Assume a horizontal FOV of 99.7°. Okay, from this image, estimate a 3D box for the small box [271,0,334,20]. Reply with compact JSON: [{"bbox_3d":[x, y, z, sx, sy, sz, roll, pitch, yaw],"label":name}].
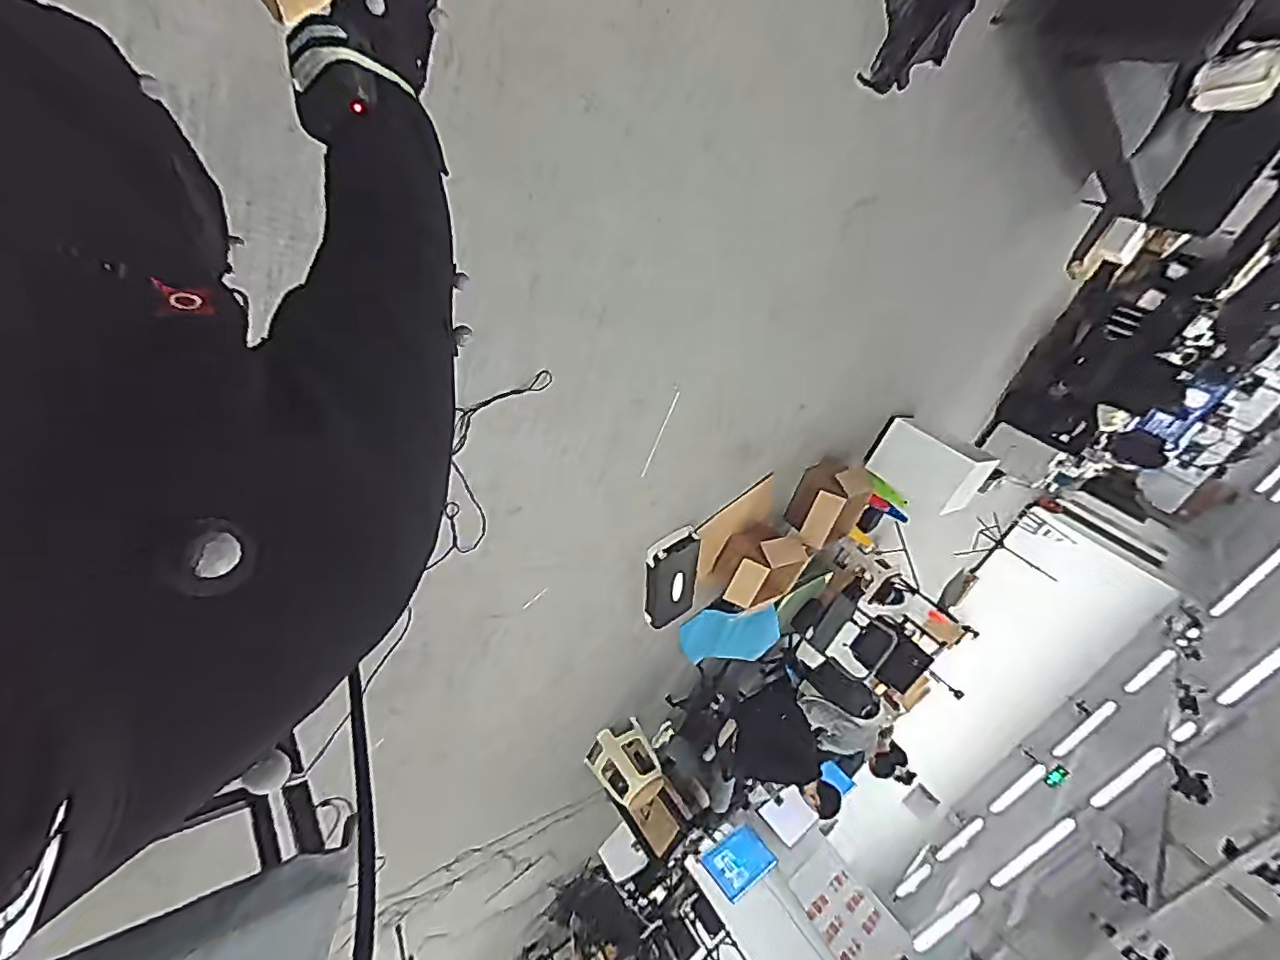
[{"bbox_3d":[-0.289,-0.526,0.424,0.168,0.176,0.179,-41,123,-7],"label":"small box"}]
